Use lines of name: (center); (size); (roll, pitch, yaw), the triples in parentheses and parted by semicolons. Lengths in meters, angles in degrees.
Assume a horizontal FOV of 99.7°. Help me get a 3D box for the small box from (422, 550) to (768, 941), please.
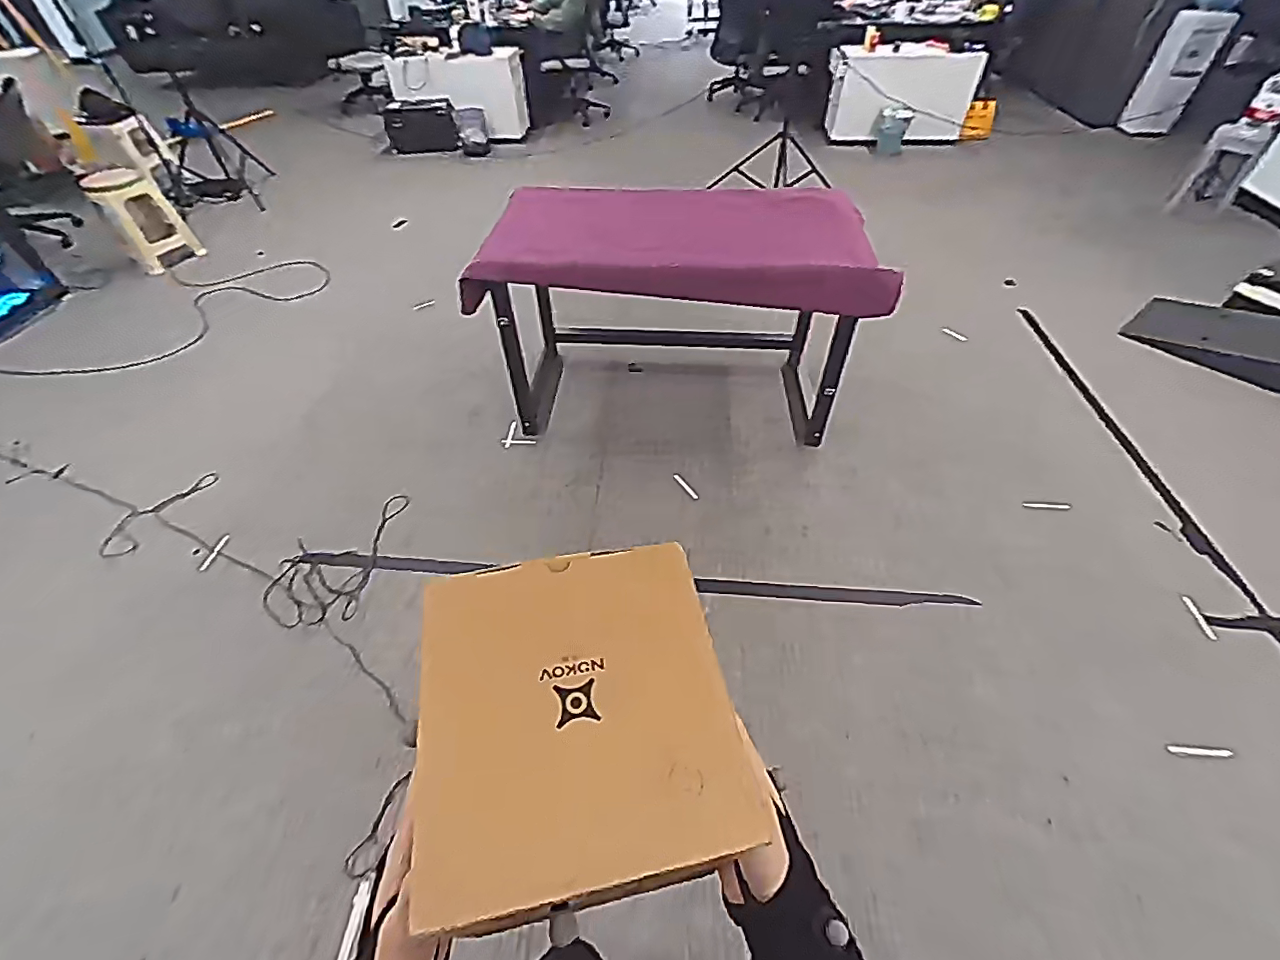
small box: (-0.036, 0.174, 0.359); (0.168, 0.176, 0.179); (-8, 49, -11)
